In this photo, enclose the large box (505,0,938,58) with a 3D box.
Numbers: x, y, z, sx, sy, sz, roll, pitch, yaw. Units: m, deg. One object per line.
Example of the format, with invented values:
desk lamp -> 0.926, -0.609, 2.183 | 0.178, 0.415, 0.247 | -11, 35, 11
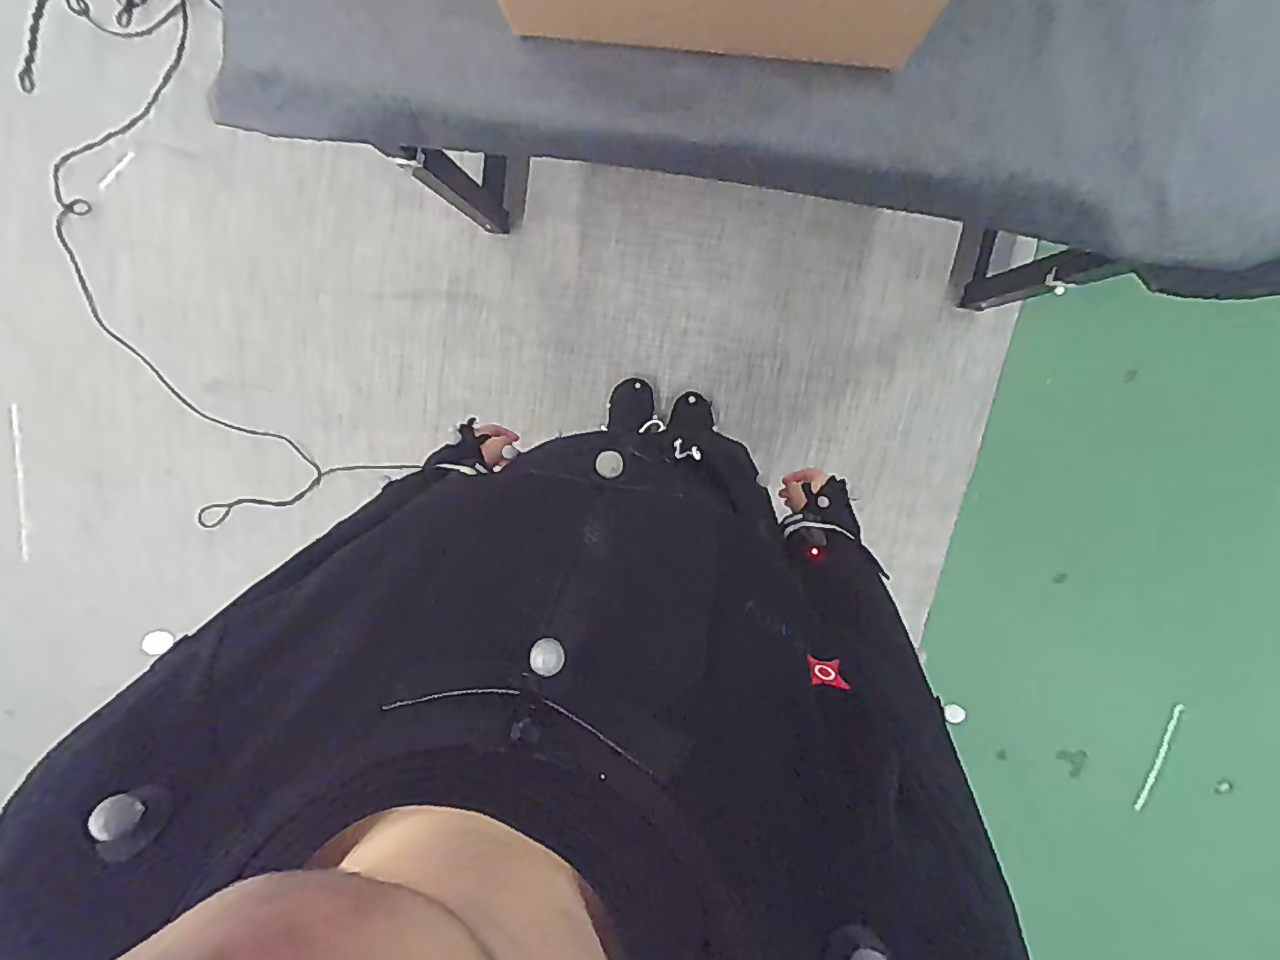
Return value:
large box -> 0.073, -0.568, 0.383 | 0.408, 0.320, 0.320 | 7, 101, 2
